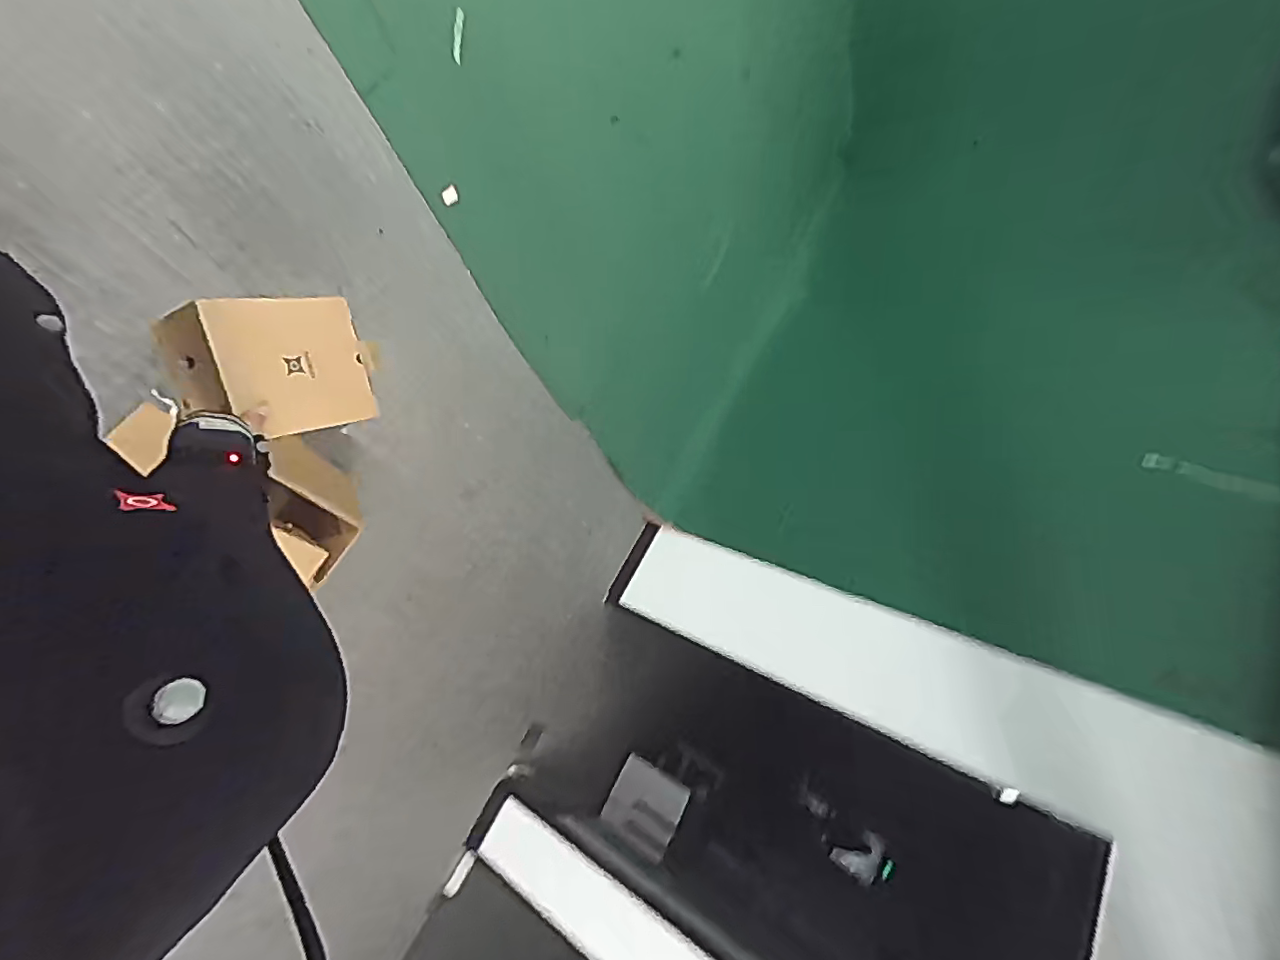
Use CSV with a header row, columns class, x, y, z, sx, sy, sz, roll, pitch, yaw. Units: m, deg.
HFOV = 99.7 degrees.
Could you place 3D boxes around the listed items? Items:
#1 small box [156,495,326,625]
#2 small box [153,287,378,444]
class,x,y,z,sx,sy,sz,roll,pitch,yaw
small box,-0.763,0.150,1.039,0.168,0.176,0.179,-59,146,-17
small box,-0.490,-0.149,0.708,0.179,0.176,0.168,-31,113,-54
